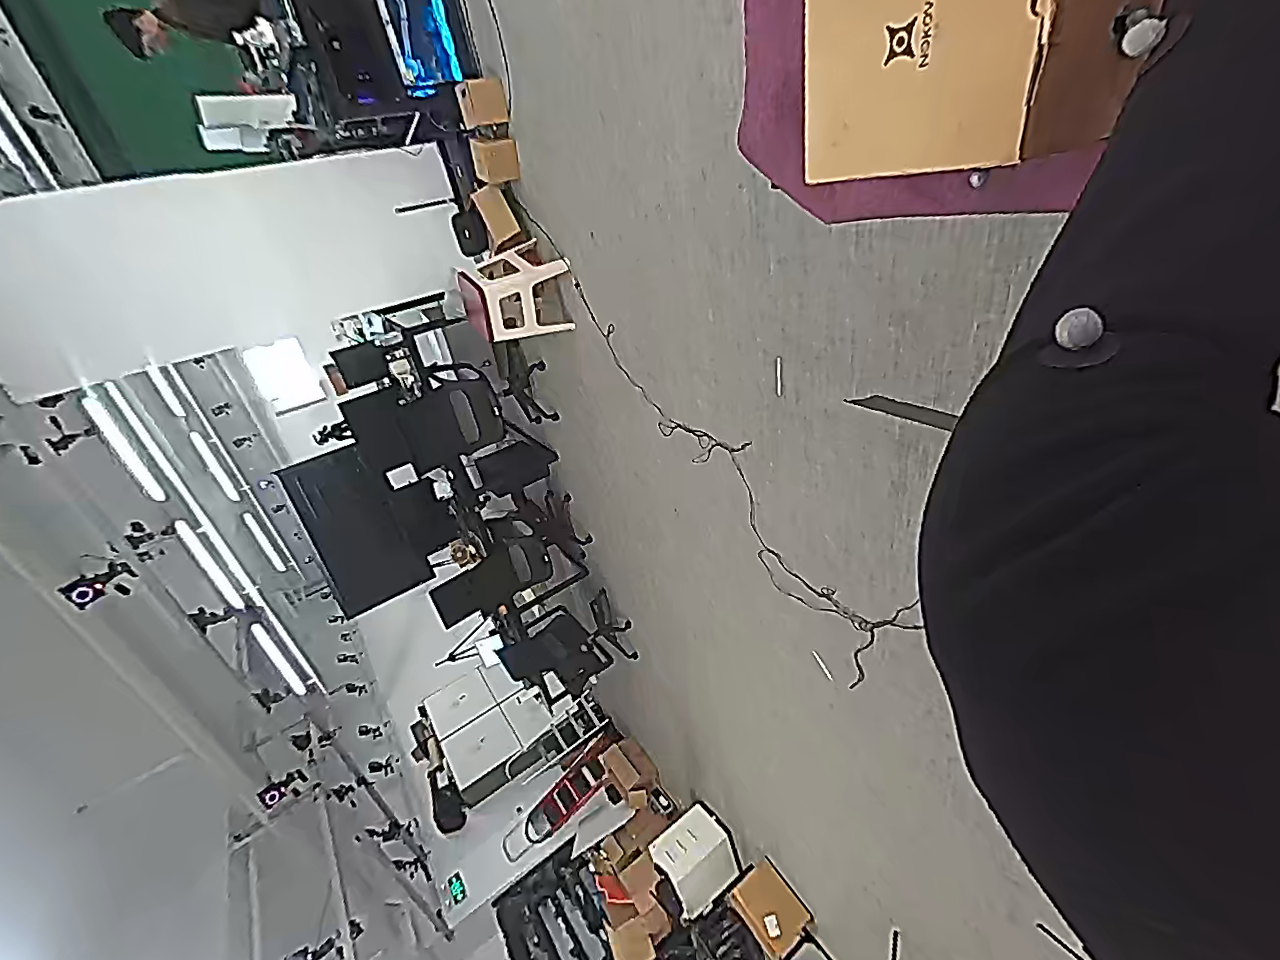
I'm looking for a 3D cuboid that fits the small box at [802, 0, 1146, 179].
[{"bbox_3d":[0.249,-0.341,0.417,0.179,0.176,0.168,29,138,49],"label":"small box"}]
